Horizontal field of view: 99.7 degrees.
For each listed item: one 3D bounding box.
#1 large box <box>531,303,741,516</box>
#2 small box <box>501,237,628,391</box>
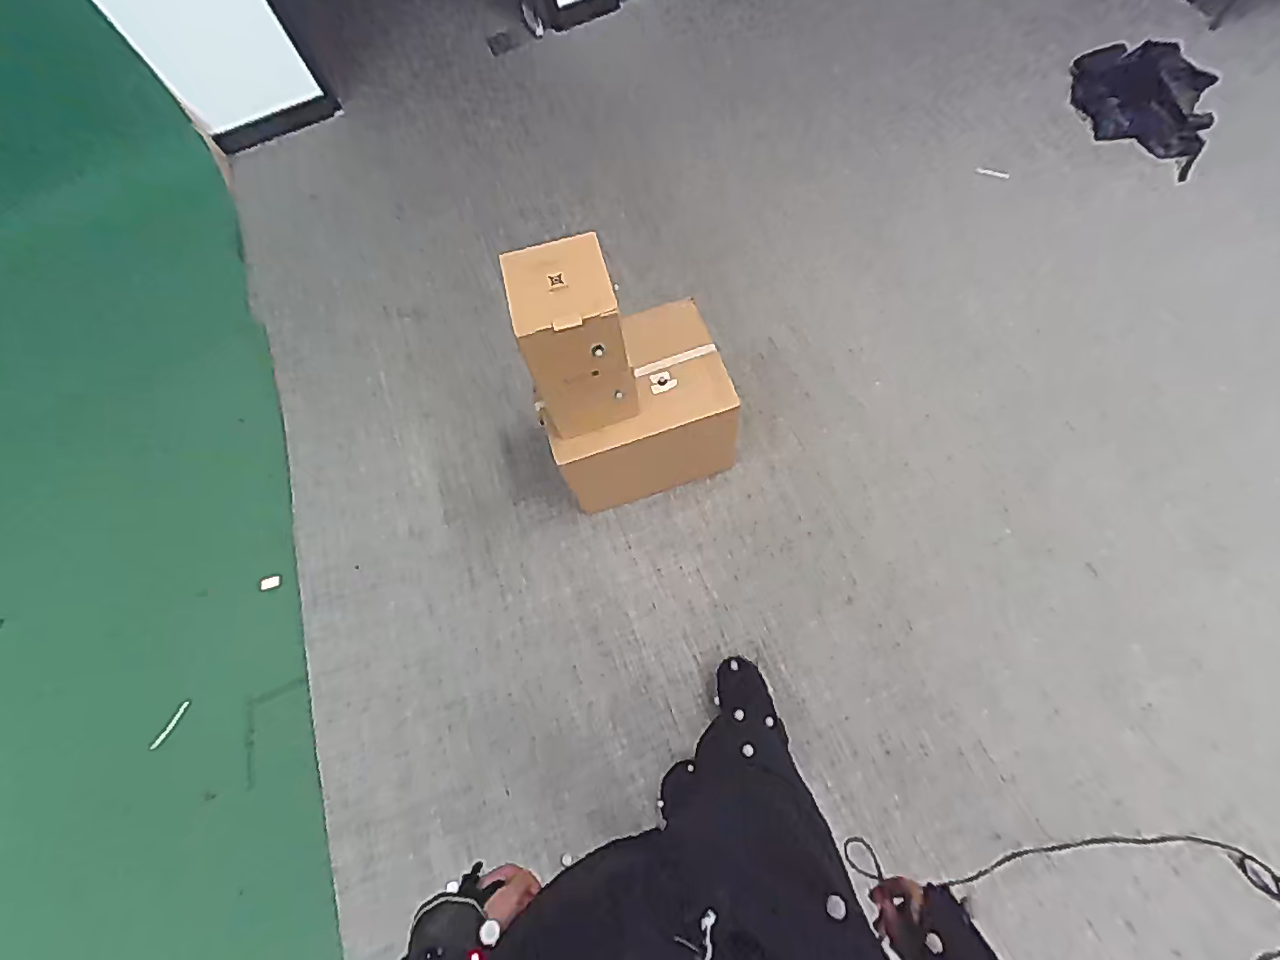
[{"bbox_3d":[-0.009,-0.155,1.307,0.408,0.320,0.320,-18,67,-3],"label":"large box"},{"bbox_3d":[-0.123,-0.271,0.924,0.168,0.176,0.179,-15,65,-3],"label":"small box"}]
